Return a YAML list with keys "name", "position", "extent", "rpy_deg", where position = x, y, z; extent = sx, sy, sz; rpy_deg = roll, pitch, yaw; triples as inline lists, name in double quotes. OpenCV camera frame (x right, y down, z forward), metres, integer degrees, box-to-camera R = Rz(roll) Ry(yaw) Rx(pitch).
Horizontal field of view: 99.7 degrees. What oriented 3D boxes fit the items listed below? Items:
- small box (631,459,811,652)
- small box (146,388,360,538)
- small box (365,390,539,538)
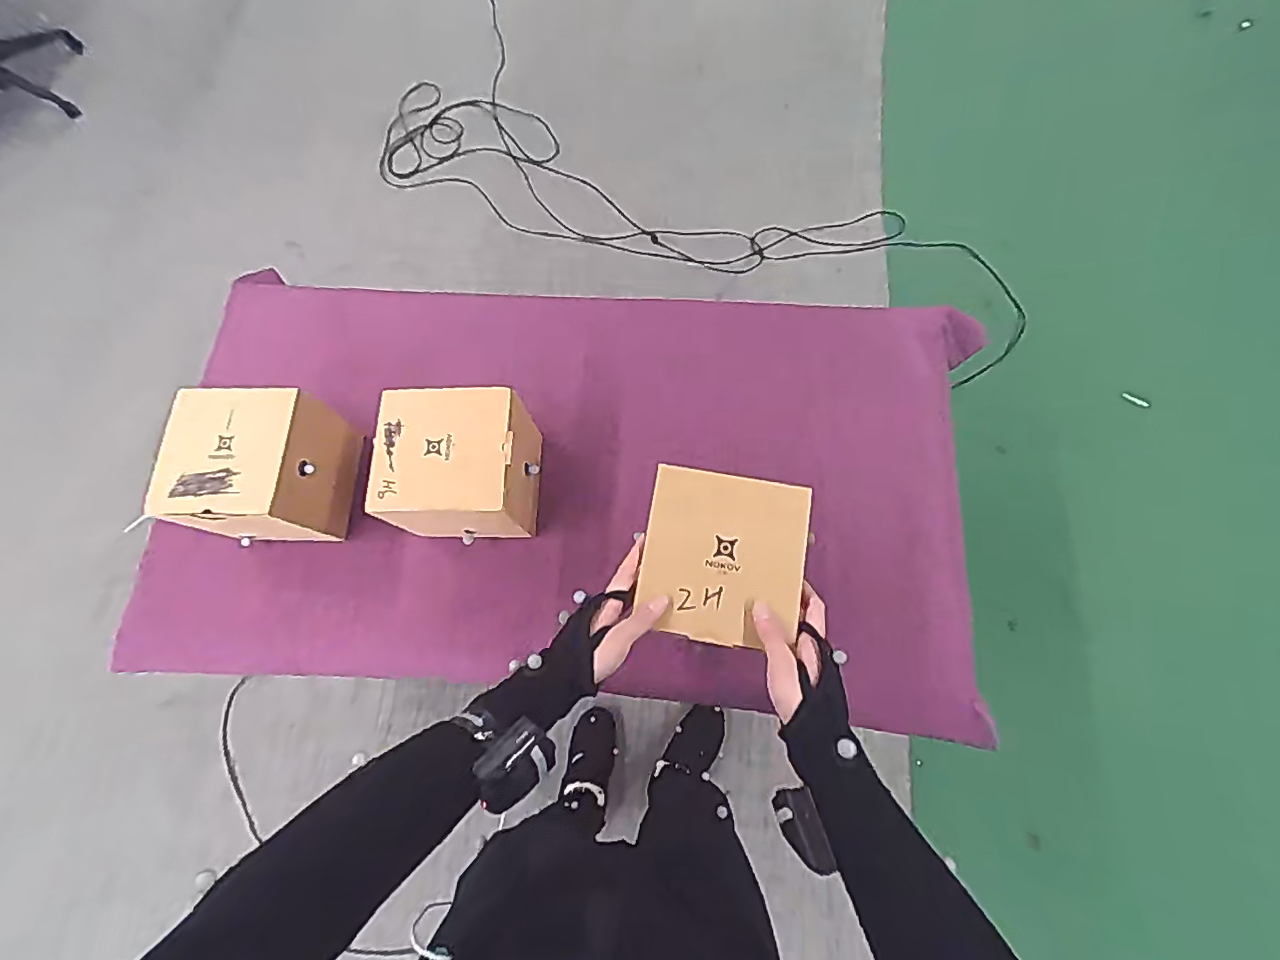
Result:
- name: "small box"
  position: [0.088, 0.093, 0.634]
  extent: [0.168, 0.176, 0.179]
  rpy_deg: [10, 77, 6]
- name: "small box"
  position: [-0.528, -0.016, 0.768]
  extent: [0.168, 0.176, 0.179]
  rpy_deg: [1, 72, 3]
- name: "small box"
  position: [-0.245, -0.015, 0.755]
  extent: [0.179, 0.176, 0.168]
  rpy_deg: [0, 73, 2]
